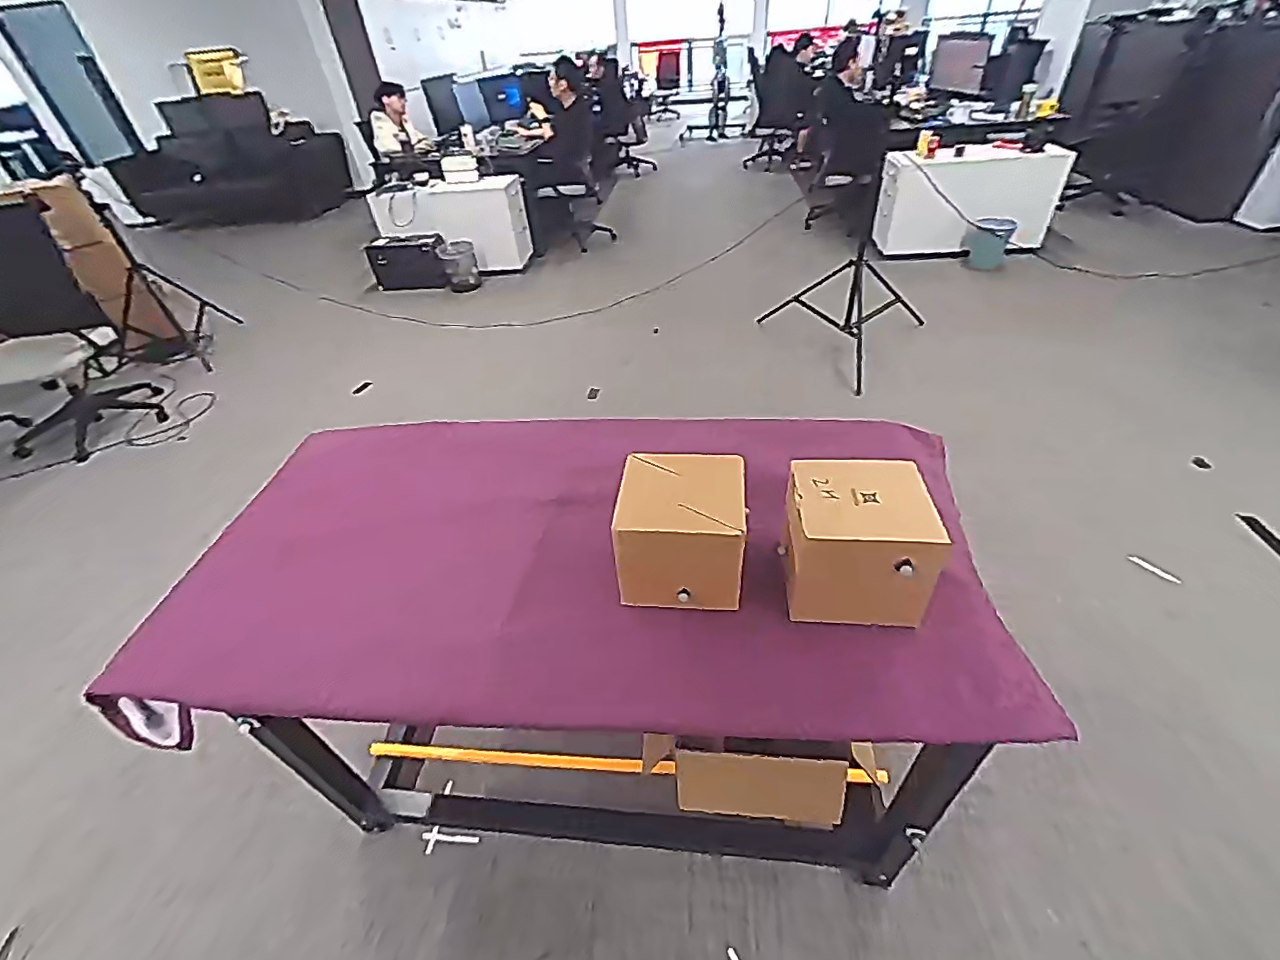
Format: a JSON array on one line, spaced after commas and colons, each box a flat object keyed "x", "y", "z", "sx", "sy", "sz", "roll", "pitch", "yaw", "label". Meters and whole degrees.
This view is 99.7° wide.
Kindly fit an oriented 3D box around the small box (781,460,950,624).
[{"x": 0.306, "y": 0.089, "z": 0.777, "sx": 0.179, "sy": 0.176, "sz": 0.168, "roll": 1, "pitch": 38, "yaw": 8, "label": "small box"}]

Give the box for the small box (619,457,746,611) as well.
[{"x": 0.065, "y": 0.077, "z": 0.817, "sx": 0.179, "sy": 0.176, "sz": 0.168, "roll": 0, "pitch": 39, "yaw": 8, "label": "small box"}]
